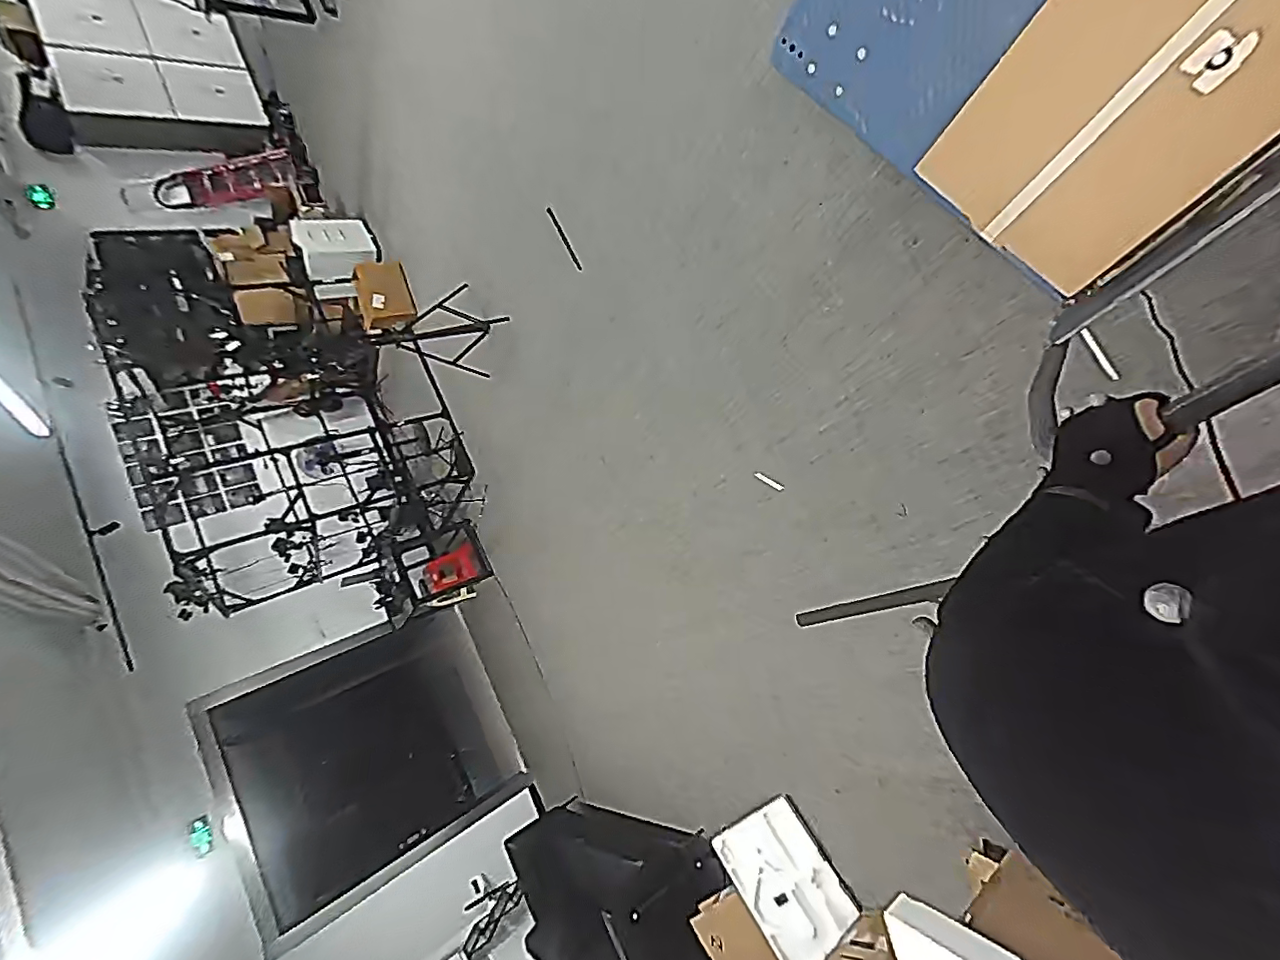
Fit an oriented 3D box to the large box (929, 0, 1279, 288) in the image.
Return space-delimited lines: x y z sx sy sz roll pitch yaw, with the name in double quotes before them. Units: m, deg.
"large box" 0.720 -0.562 0.771 0.320 0.320 0.408 46 142 9
